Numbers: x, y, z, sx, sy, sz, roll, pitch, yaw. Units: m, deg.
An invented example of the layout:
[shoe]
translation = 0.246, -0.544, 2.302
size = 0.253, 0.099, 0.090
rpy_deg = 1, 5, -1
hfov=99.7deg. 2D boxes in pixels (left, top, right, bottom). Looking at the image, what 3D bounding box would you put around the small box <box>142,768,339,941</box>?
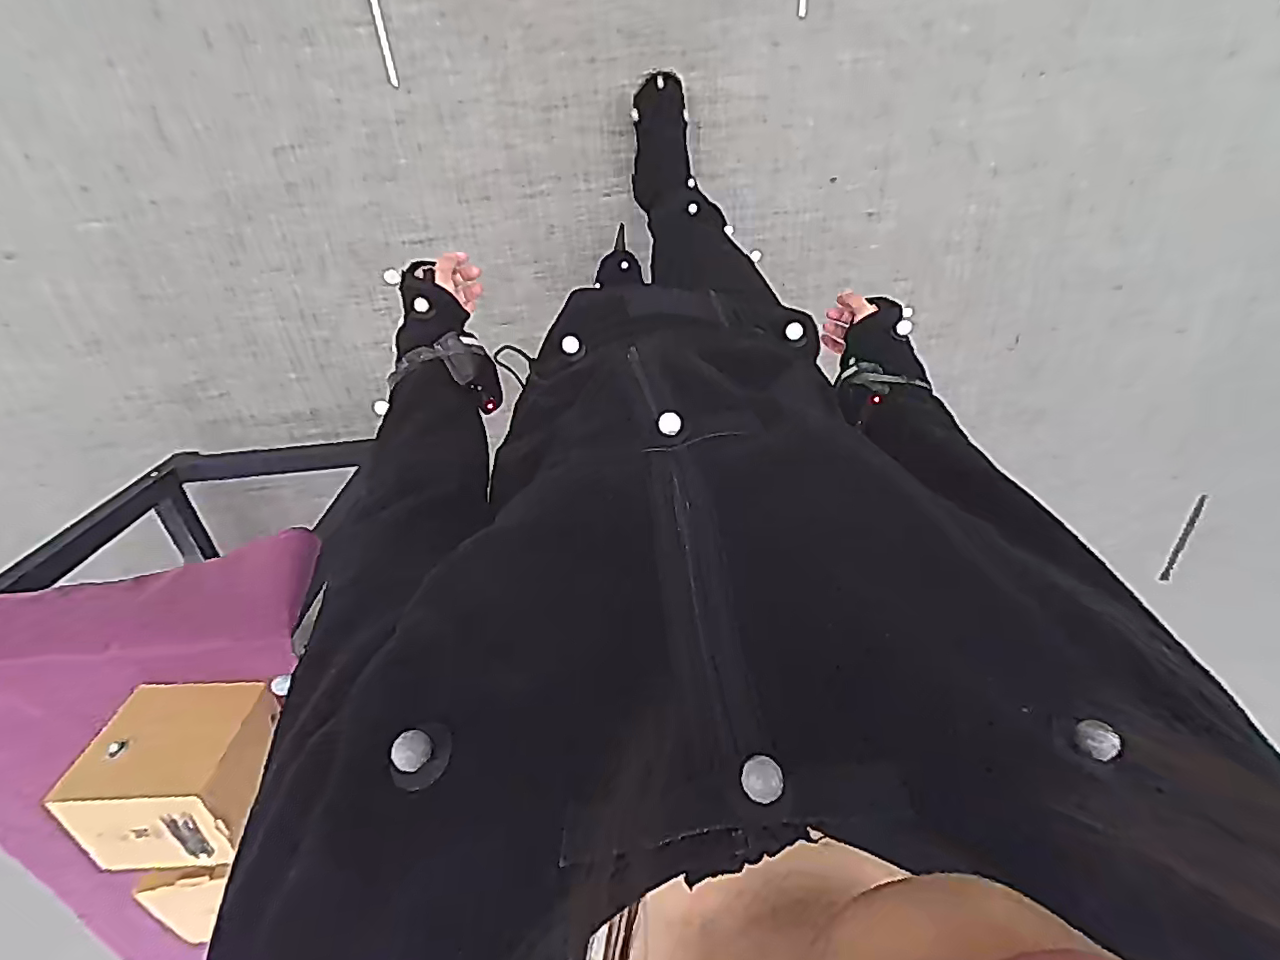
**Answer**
[small box]
translation = -0.618, 0.587, 0.867
size = 0.168, 0.176, 0.179
rpy_deg = -6, 120, -4
